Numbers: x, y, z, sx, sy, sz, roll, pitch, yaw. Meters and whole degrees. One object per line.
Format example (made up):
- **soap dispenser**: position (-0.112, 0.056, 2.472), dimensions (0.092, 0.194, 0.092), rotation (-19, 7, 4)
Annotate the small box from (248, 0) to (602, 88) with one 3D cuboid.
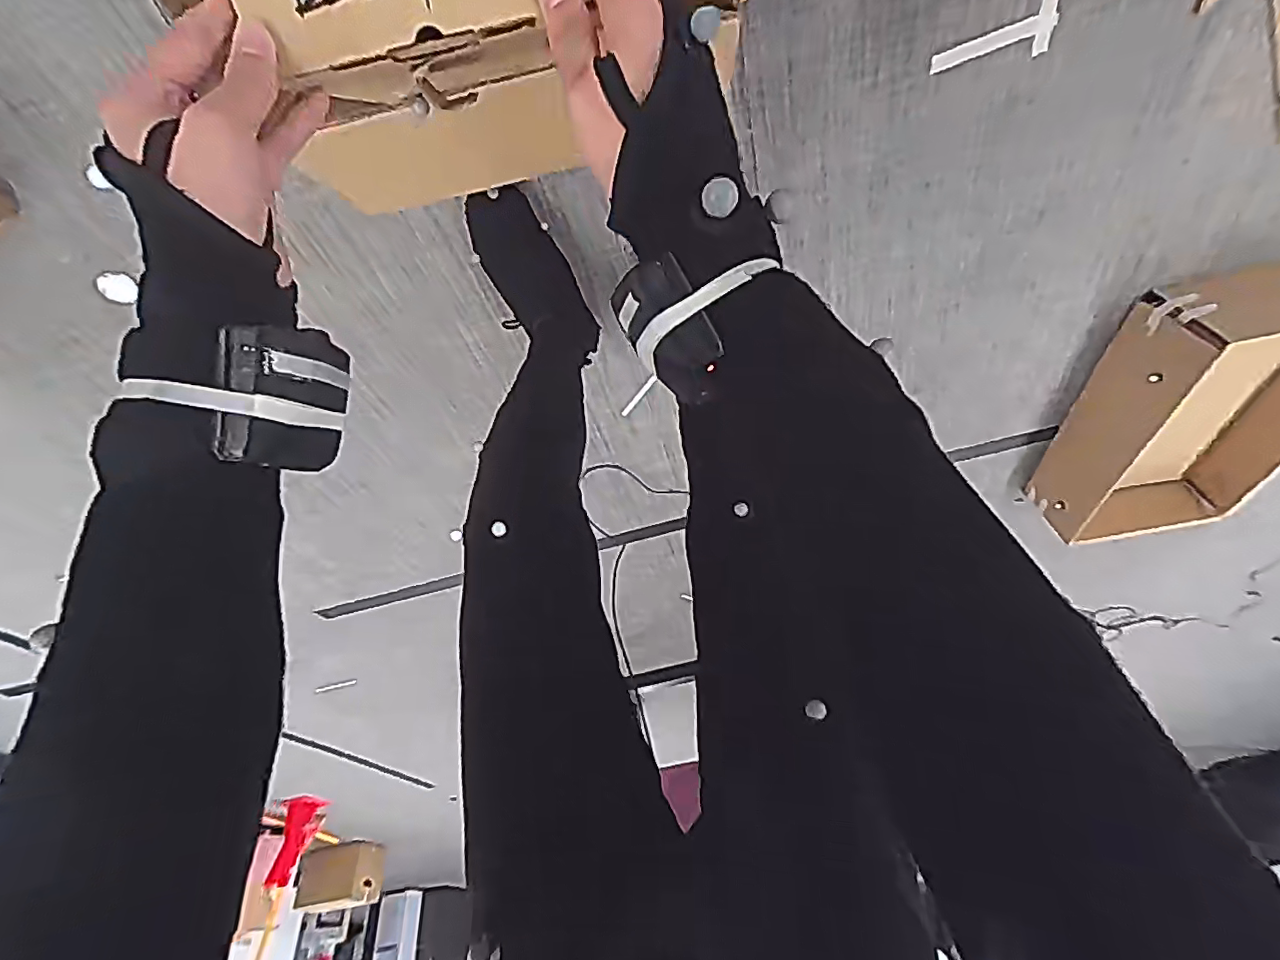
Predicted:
- **small box**: position (-0.117, -0.328, 0.285), dimensions (0.168, 0.176, 0.179), rotation (-11, 122, 3)
